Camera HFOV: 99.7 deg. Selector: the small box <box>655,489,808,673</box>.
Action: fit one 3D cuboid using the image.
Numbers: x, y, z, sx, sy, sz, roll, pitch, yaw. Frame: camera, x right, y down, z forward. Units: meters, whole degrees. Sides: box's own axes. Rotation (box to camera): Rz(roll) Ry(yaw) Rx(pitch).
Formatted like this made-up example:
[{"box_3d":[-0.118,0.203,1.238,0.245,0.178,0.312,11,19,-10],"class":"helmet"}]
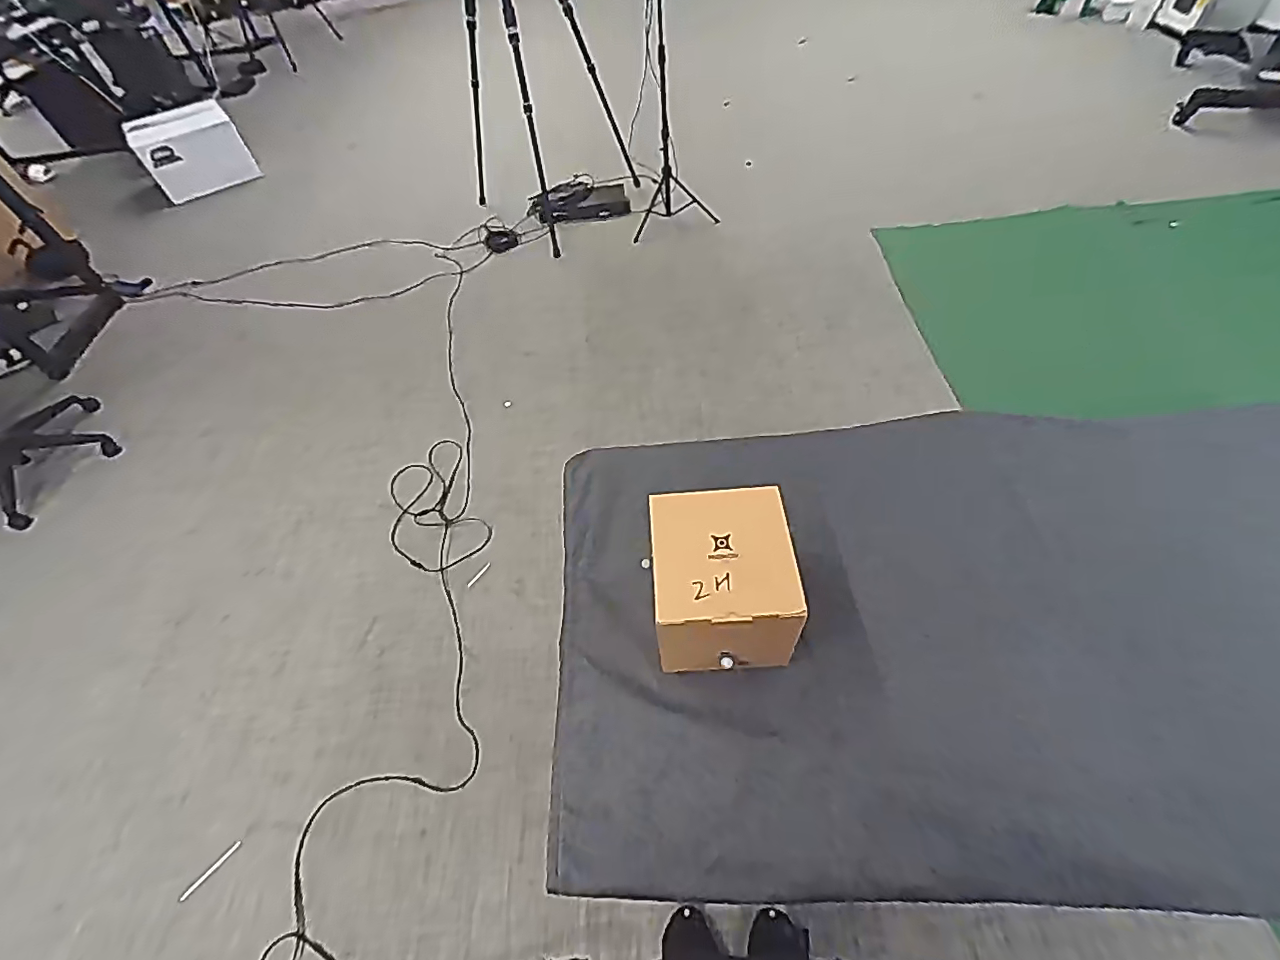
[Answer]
[{"box_3d":[0.105,0.133,0.701,0.168,0.176,0.179,-4,52,3],"class":"small box"}]
